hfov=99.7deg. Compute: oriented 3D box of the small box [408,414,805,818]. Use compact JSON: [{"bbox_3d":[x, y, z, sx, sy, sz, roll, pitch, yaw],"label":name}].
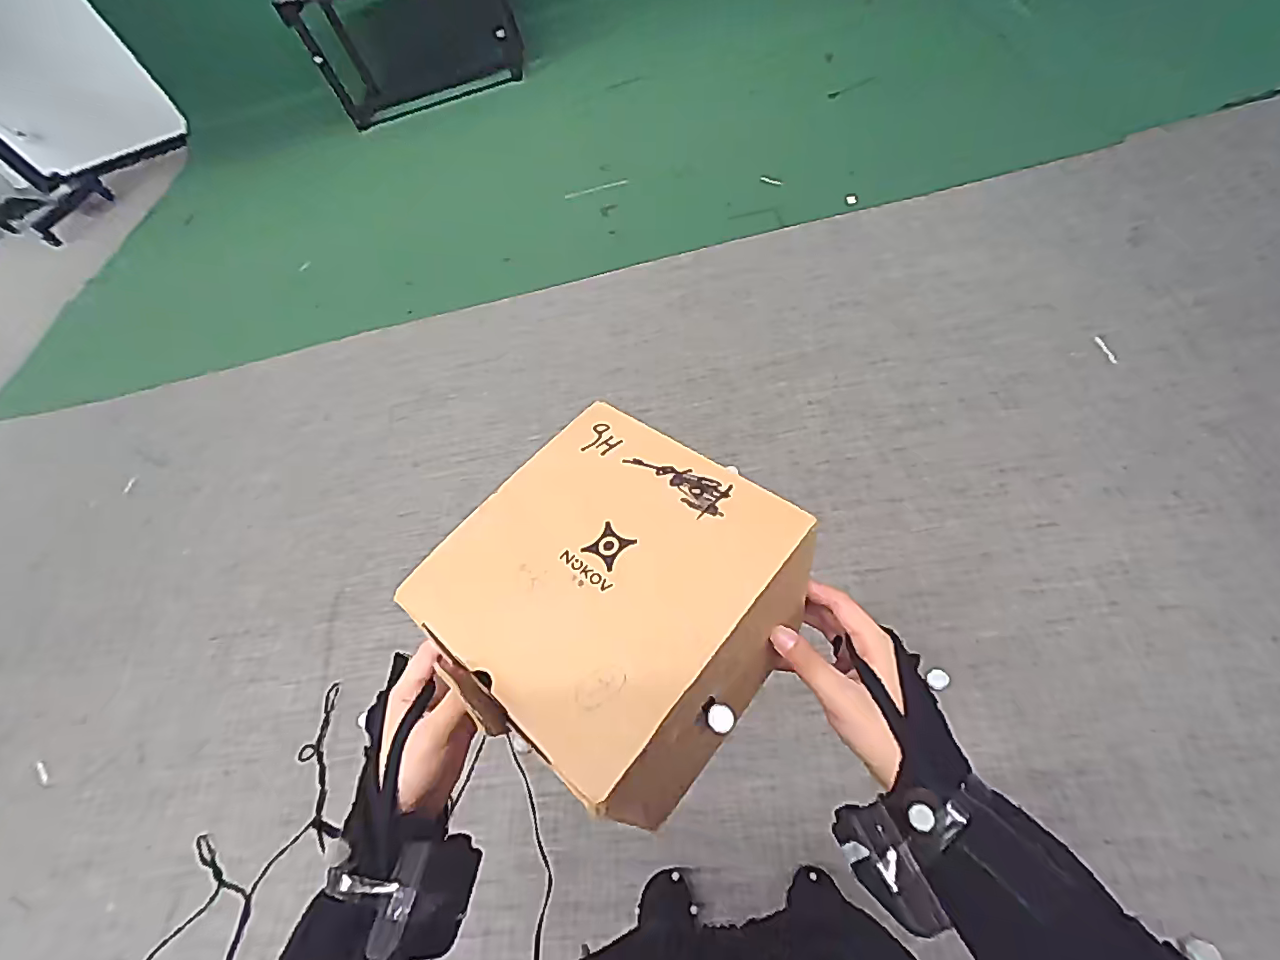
[{"bbox_3d":[-0.007,0.095,0.366,0.168,0.176,0.179,31,67,30],"label":"small box"}]
